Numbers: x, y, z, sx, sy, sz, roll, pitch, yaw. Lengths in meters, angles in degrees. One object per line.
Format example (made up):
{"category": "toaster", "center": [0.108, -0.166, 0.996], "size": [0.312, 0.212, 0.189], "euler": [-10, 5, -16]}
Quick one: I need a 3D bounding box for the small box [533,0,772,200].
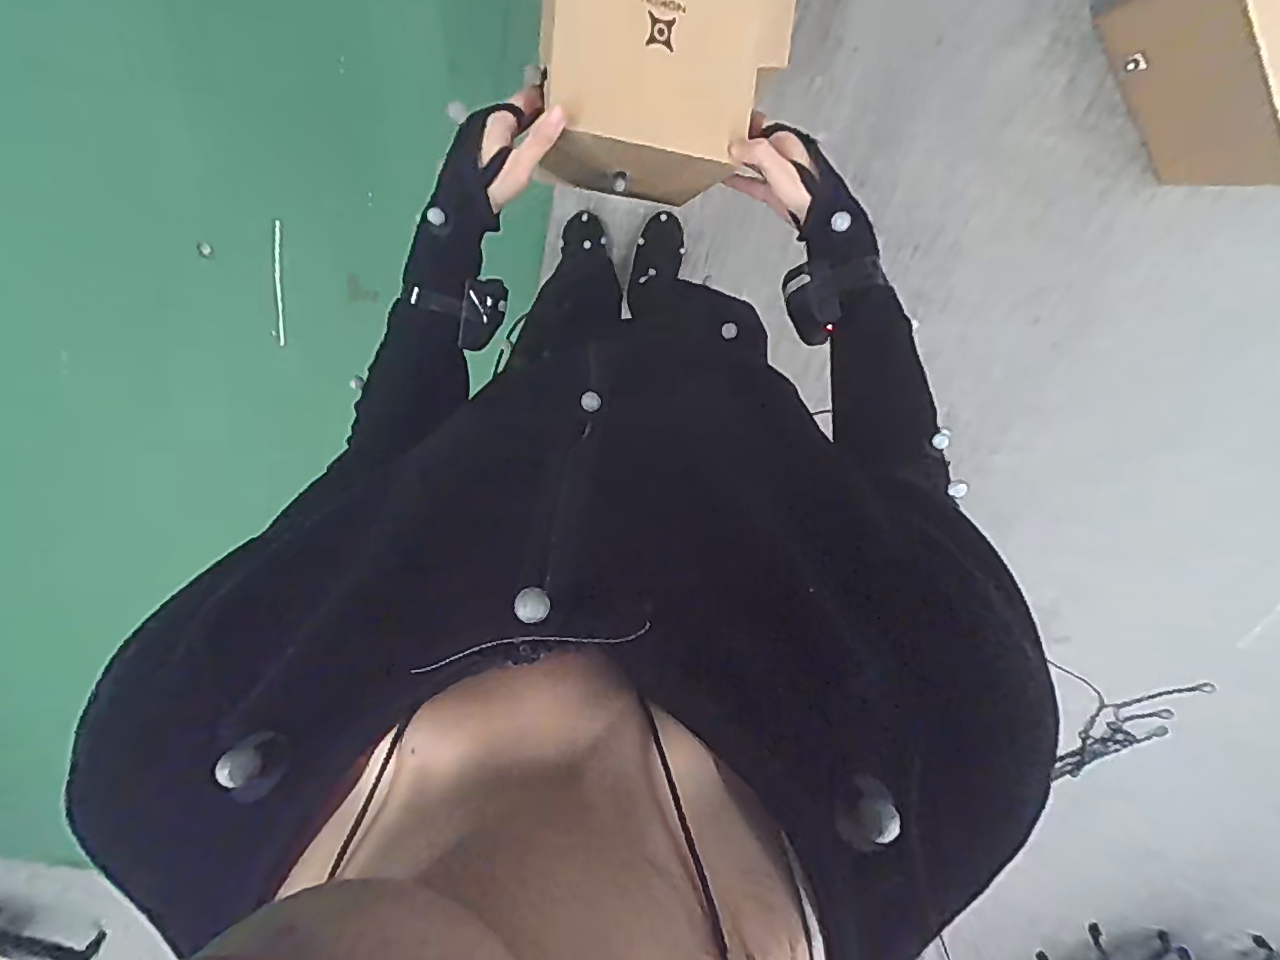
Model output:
{"category": "small box", "center": [-0.001, -0.371, 0.481], "size": [0.168, 0.176, 0.179], "euler": [3, 104, -18]}

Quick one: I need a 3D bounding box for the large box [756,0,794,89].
{"category": "large box", "center": [0.054, -0.897, 0.960], "size": [0.408, 0.320, 0.320], "euler": [2, 118, 2]}
